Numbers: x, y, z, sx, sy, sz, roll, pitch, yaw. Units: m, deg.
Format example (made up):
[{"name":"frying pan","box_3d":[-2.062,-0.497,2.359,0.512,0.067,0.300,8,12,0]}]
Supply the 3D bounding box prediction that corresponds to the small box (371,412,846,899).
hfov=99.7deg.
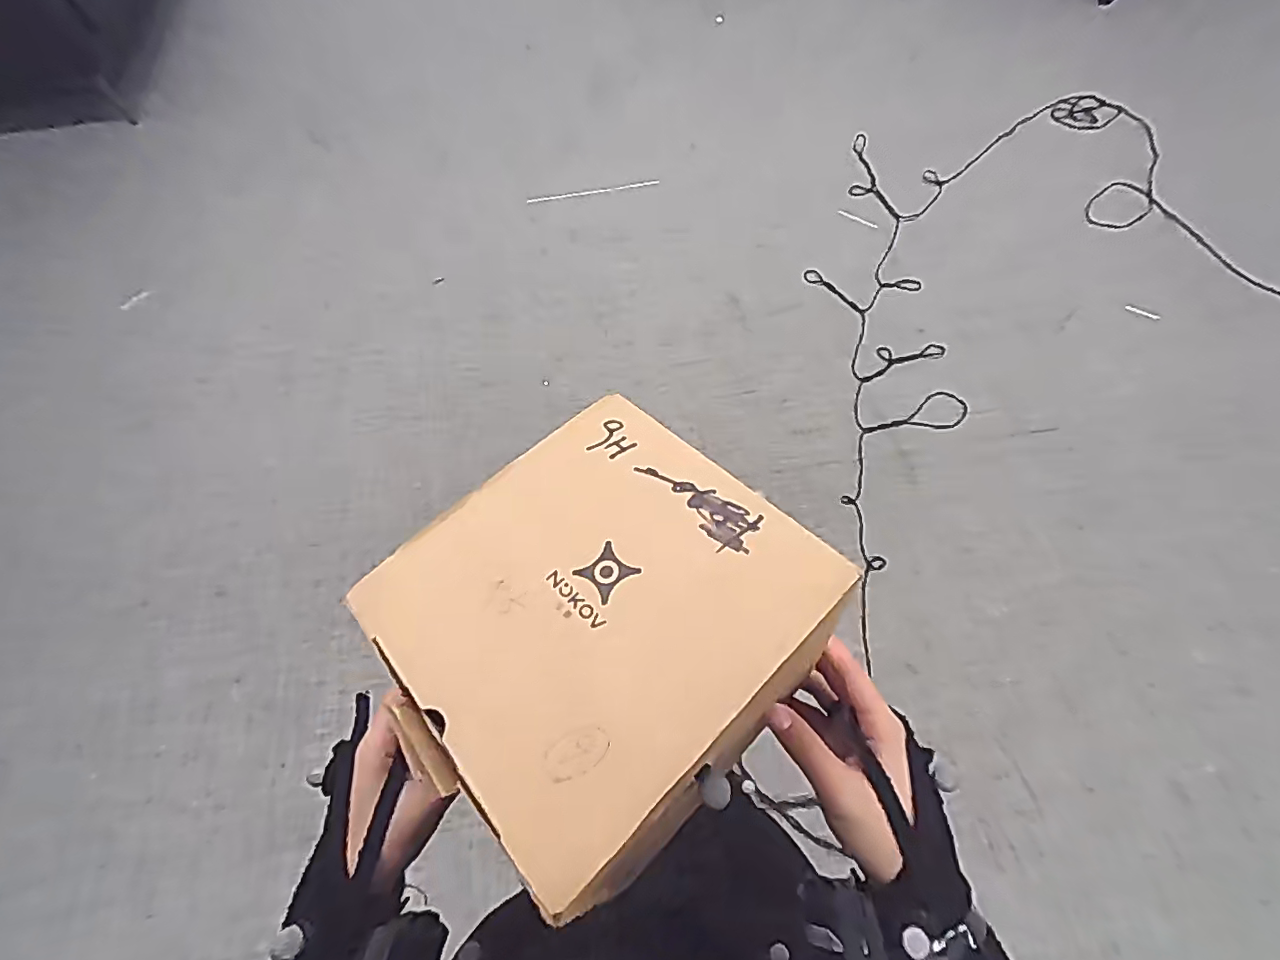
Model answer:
[{"name":"small box","box_3d":[-0.010,0.100,0.322,0.179,0.176,0.168,-40,60,-19]}]
